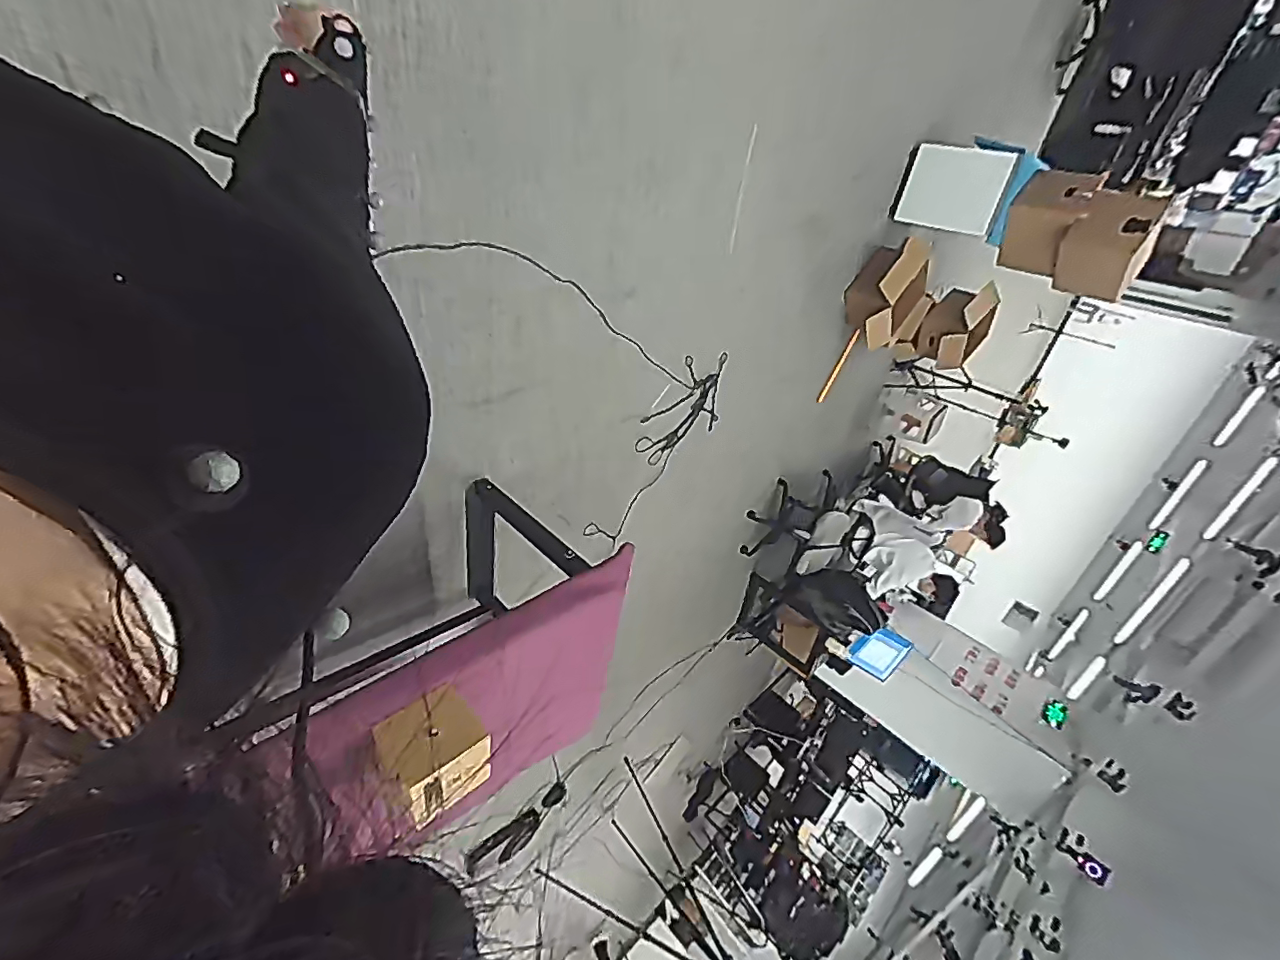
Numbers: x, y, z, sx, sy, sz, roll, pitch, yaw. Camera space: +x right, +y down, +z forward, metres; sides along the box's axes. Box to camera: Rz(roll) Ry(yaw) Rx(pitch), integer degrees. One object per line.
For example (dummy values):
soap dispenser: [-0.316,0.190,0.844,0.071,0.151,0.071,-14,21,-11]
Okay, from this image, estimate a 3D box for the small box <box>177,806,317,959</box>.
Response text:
small box: [-0.666,0.722,0.935,0.179,0.176,0.168,-22,133,-41]
